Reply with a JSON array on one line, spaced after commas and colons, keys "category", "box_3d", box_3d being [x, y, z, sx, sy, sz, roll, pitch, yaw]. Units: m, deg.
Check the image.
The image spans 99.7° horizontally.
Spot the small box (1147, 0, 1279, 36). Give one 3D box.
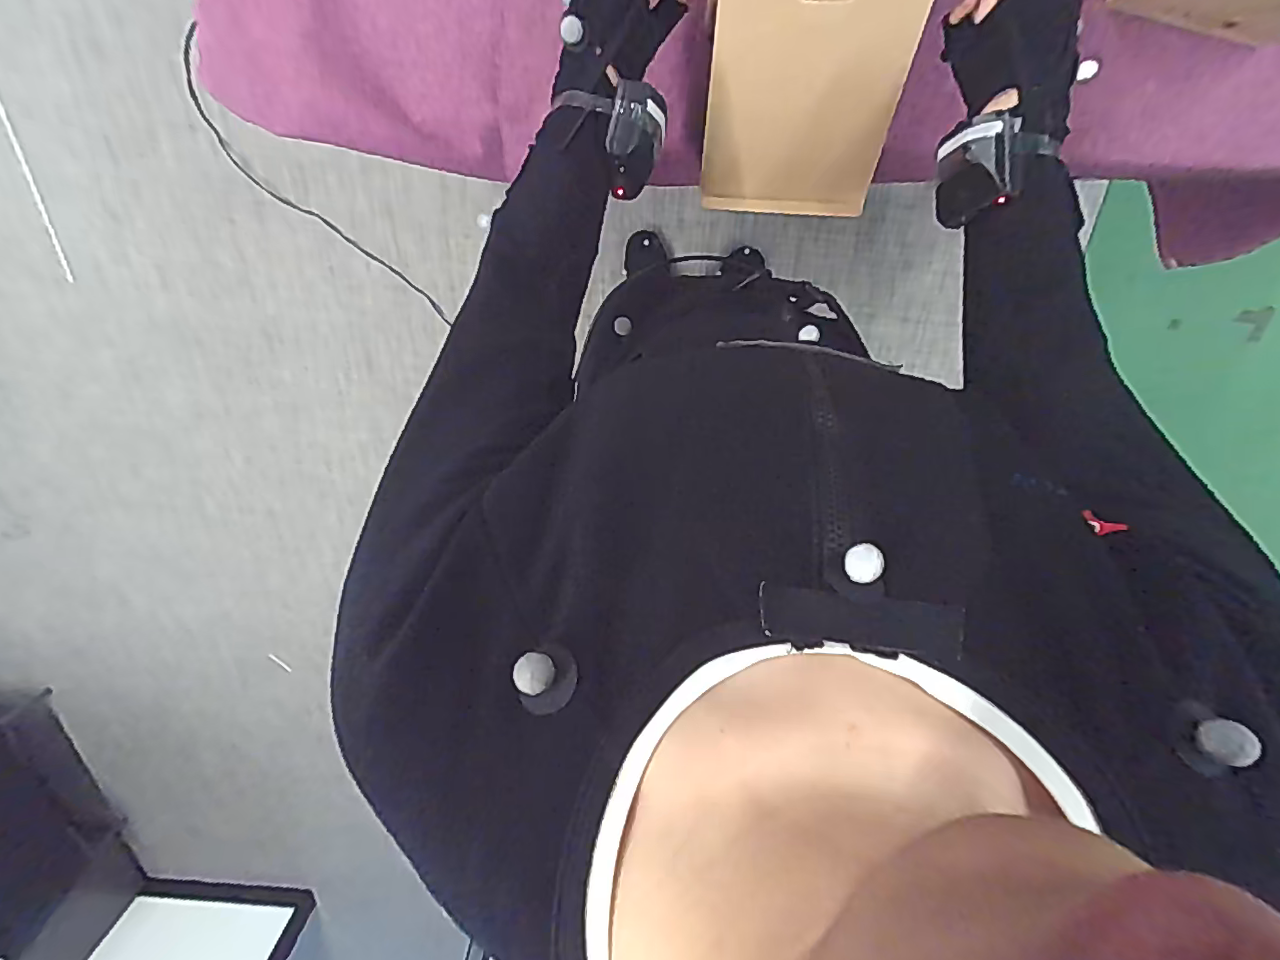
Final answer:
[{"category": "small box", "box_3d": [0.534, -0.475, 0.404, 0.168, 0.176, 0.179, 13, 115, -2]}]
